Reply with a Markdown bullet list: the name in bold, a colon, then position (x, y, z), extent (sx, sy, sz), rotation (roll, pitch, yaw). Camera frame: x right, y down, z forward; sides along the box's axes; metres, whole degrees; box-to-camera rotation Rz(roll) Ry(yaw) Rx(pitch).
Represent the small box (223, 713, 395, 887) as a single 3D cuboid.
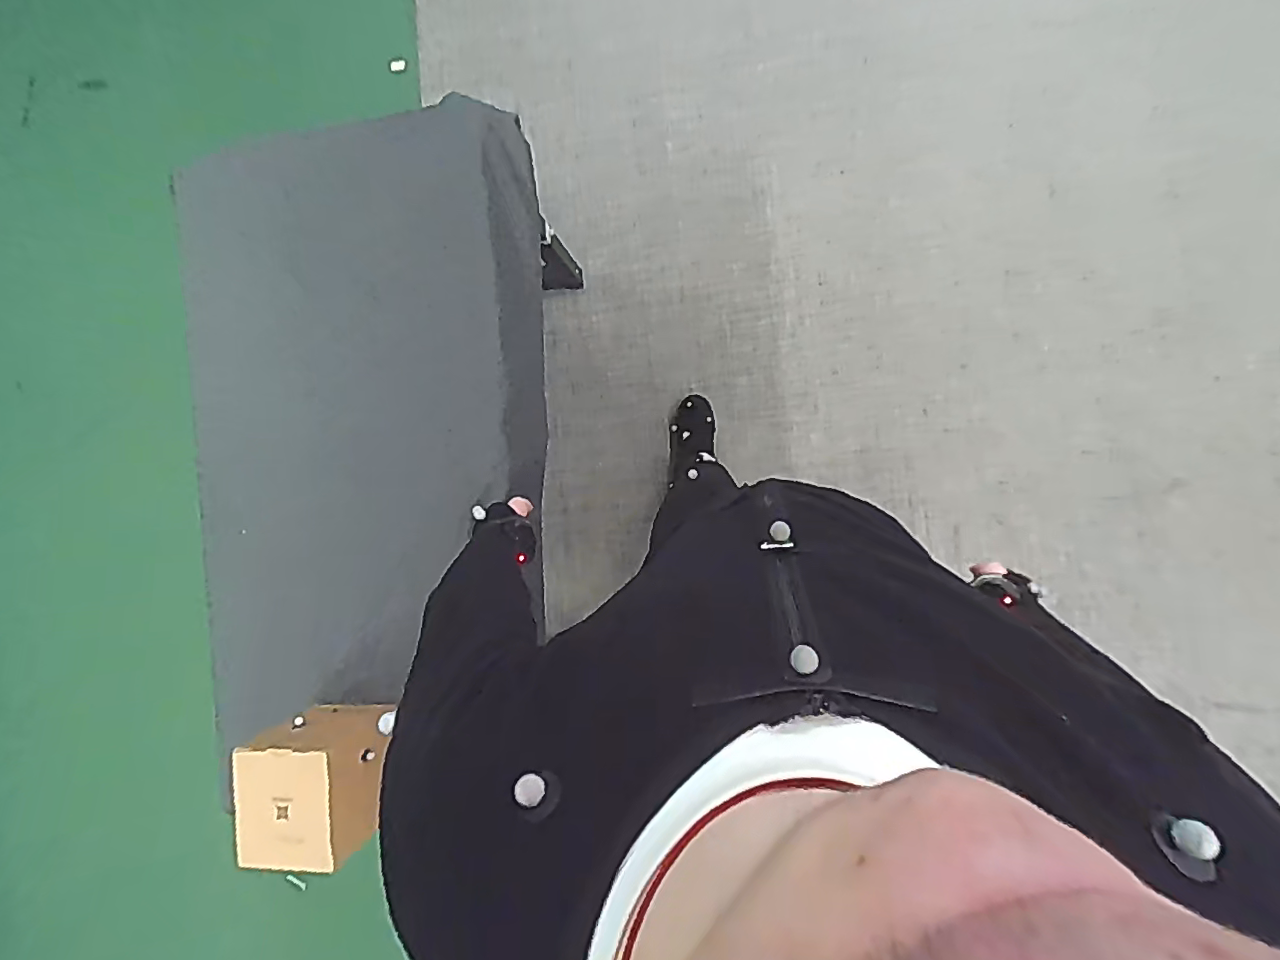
- **small box**: position (-0.505, 0.483, 0.845), extent (0.168, 0.176, 0.179), rotation (-2, 89, 12)
